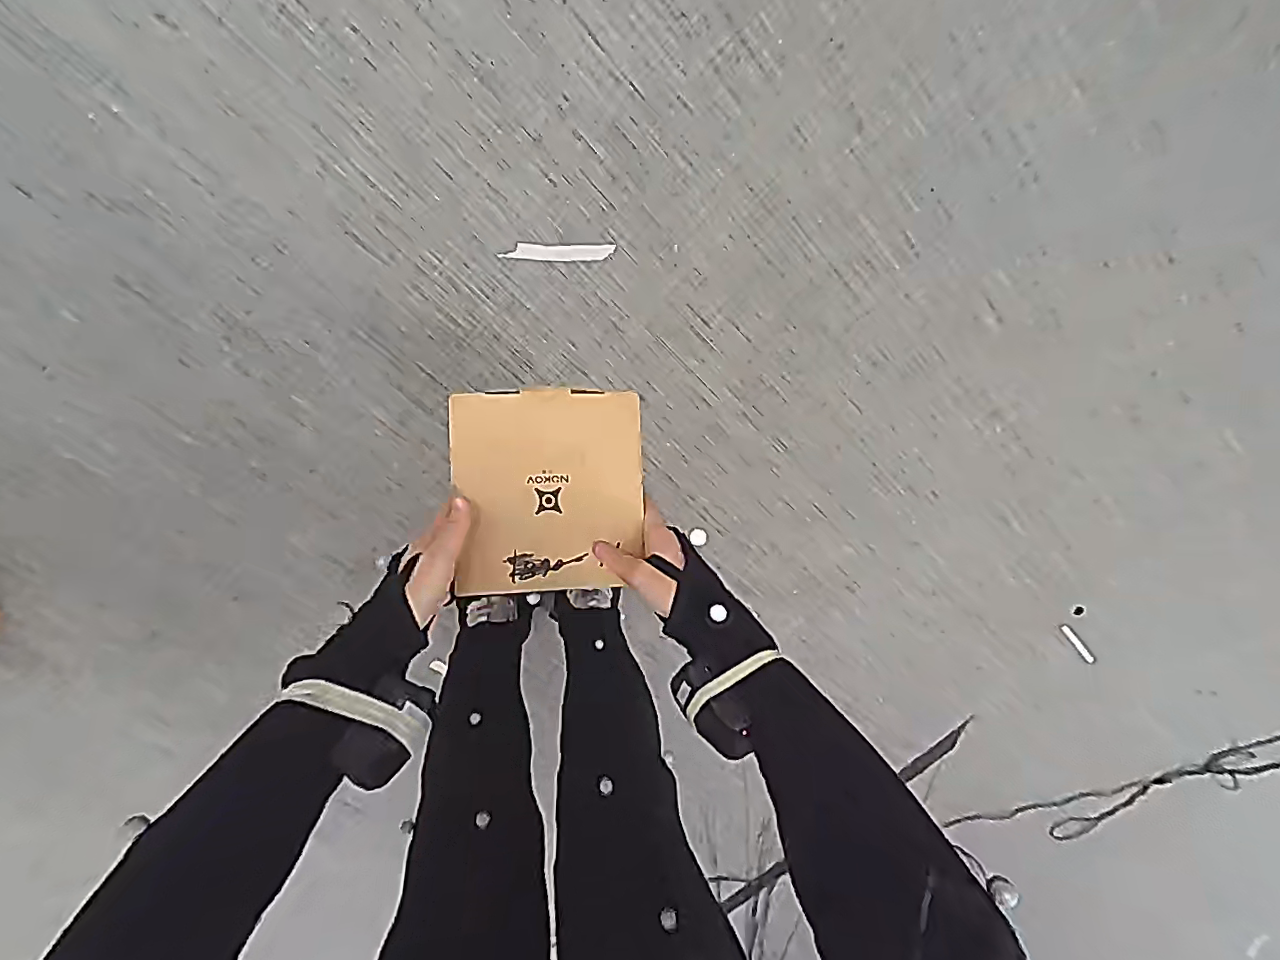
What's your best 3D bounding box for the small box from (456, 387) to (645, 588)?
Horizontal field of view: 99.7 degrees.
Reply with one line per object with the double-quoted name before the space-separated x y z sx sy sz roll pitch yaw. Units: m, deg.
"small box" -0.089 0.006 0.554 0.168 0.176 0.179 -2 90 -8
